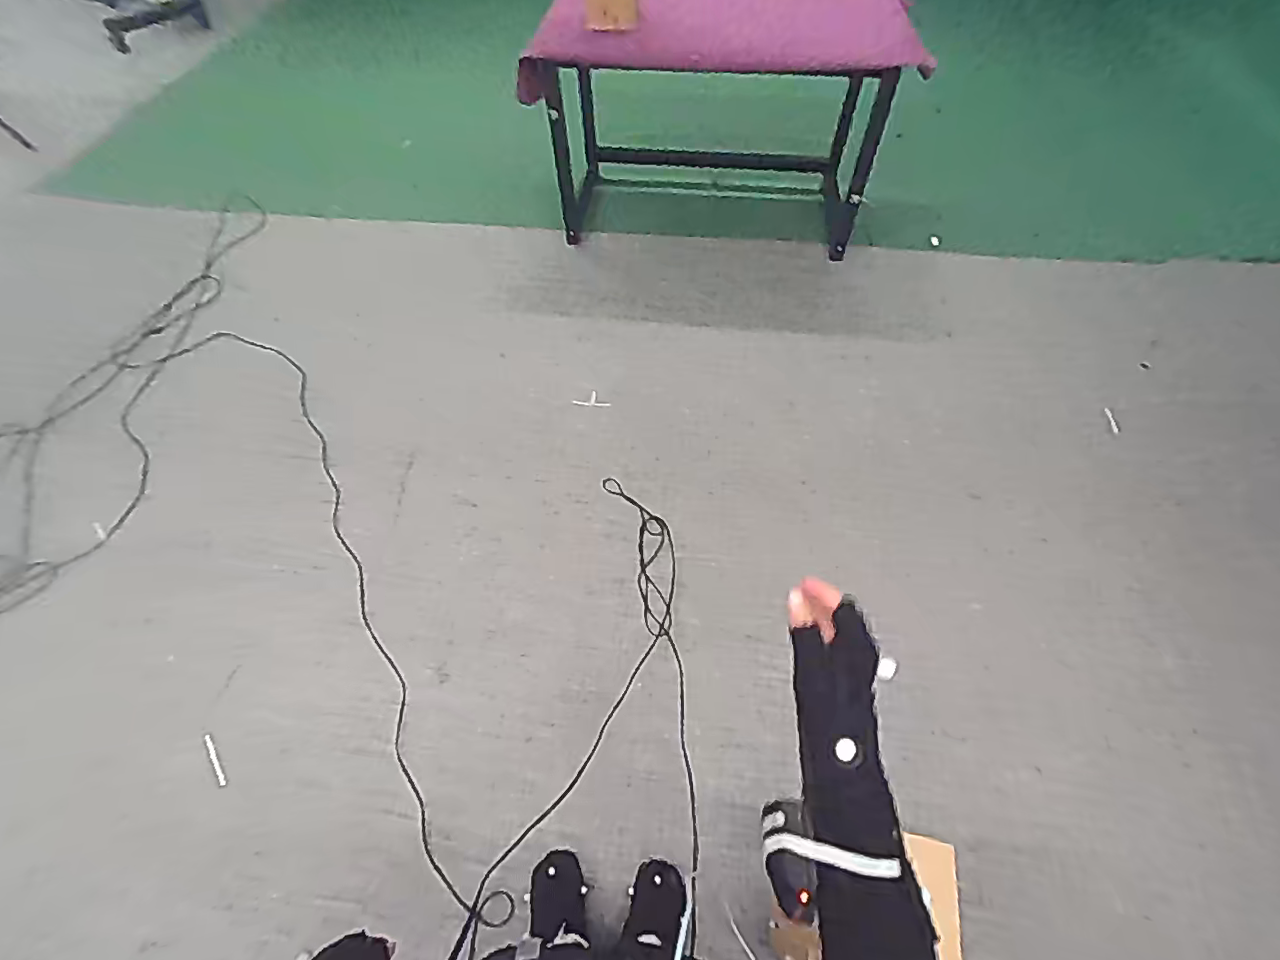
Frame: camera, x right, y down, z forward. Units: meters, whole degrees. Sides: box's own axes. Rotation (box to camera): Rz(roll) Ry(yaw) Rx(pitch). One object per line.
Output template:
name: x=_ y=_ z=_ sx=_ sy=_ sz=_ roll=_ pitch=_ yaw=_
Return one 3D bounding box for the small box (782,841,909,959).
small box: x=0.349 y=0.750 z=0.951 sx=0.168 sy=0.176 sz=0.179 roll=6 pitch=58 yaw=4

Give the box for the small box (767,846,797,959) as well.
small box: x=0.352 y=0.854 z=1.079 sx=0.168 sy=0.176 sz=0.179 roll=9 pitch=58 yaw=6

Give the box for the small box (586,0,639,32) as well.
small box: x=-0.090 y=-1.624 z=1.790 sx=0.168 sy=0.176 sz=0.179 roll=4 pitch=59 yaw=3
